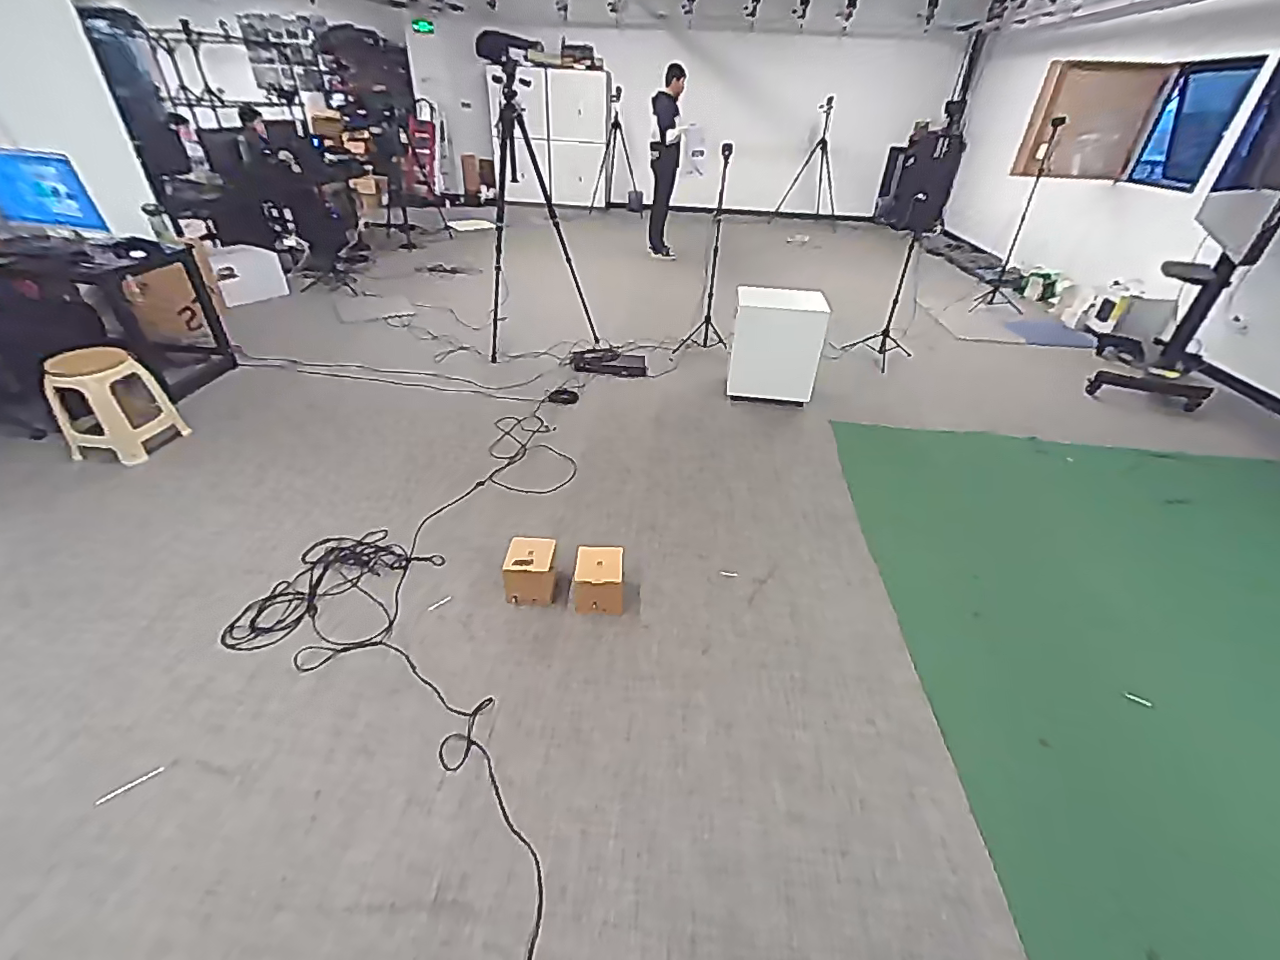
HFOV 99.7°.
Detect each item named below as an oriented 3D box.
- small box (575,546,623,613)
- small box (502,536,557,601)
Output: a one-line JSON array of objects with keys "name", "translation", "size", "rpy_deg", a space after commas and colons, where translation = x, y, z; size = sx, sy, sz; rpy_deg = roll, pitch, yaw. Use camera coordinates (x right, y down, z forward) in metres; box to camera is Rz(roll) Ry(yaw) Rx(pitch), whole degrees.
[{"name": "small box", "translation": [-0.147, 0.360, 1.965], "size": [0.168, 0.176, 0.179], "rpy_deg": [1, 36, -2]}, {"name": "small box", "translation": [-0.399, 0.328, 1.990], "size": [0.168, 0.176, 0.179], "rpy_deg": [3, 35, 0]}]
